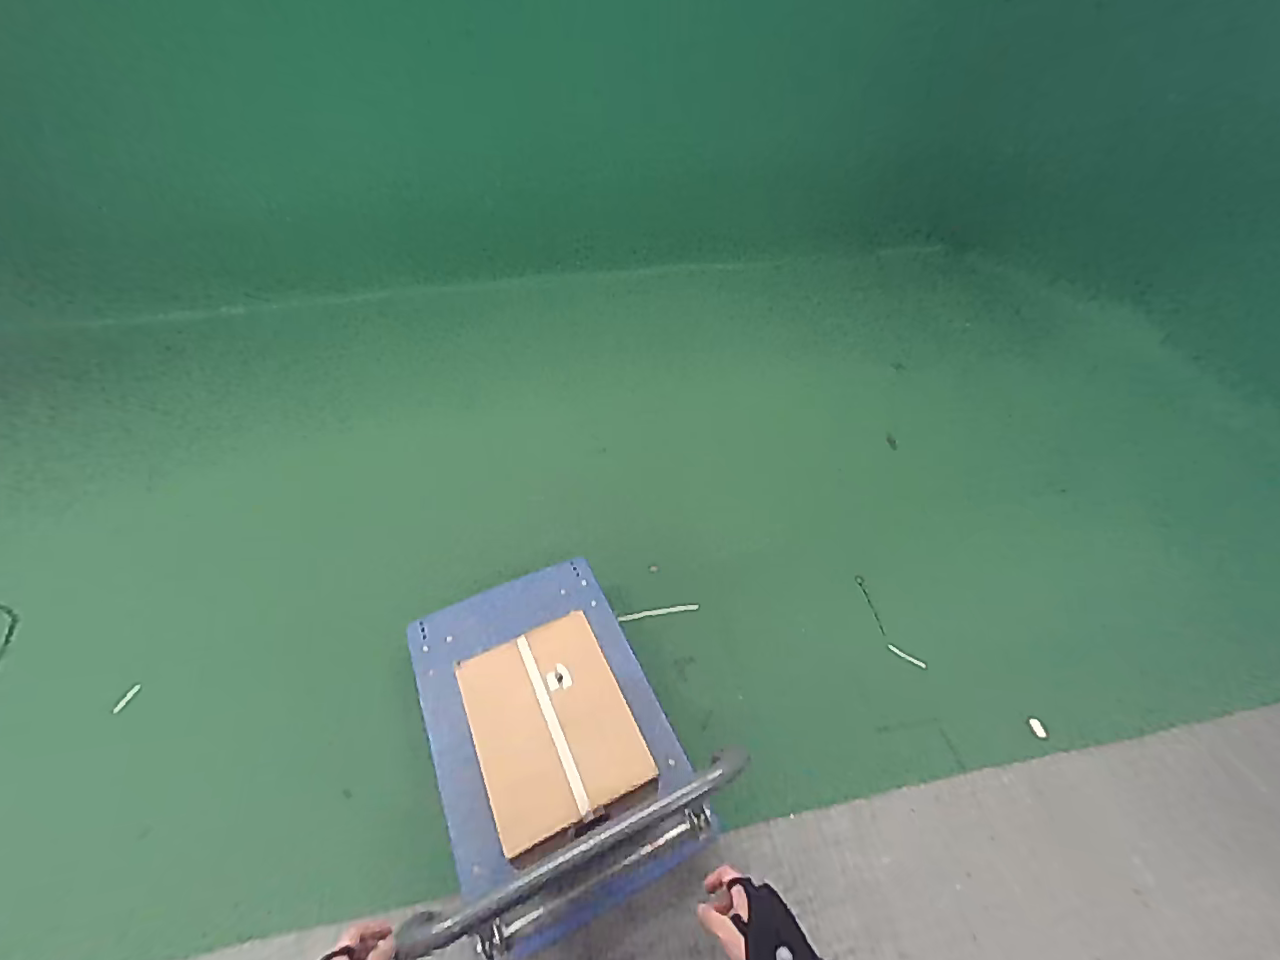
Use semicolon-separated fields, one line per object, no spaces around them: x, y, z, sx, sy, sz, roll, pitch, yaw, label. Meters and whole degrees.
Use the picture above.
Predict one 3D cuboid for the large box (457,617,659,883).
-0.182;0.610;1.246;0.320;0.320;0.408;-20;49;-17;large box
